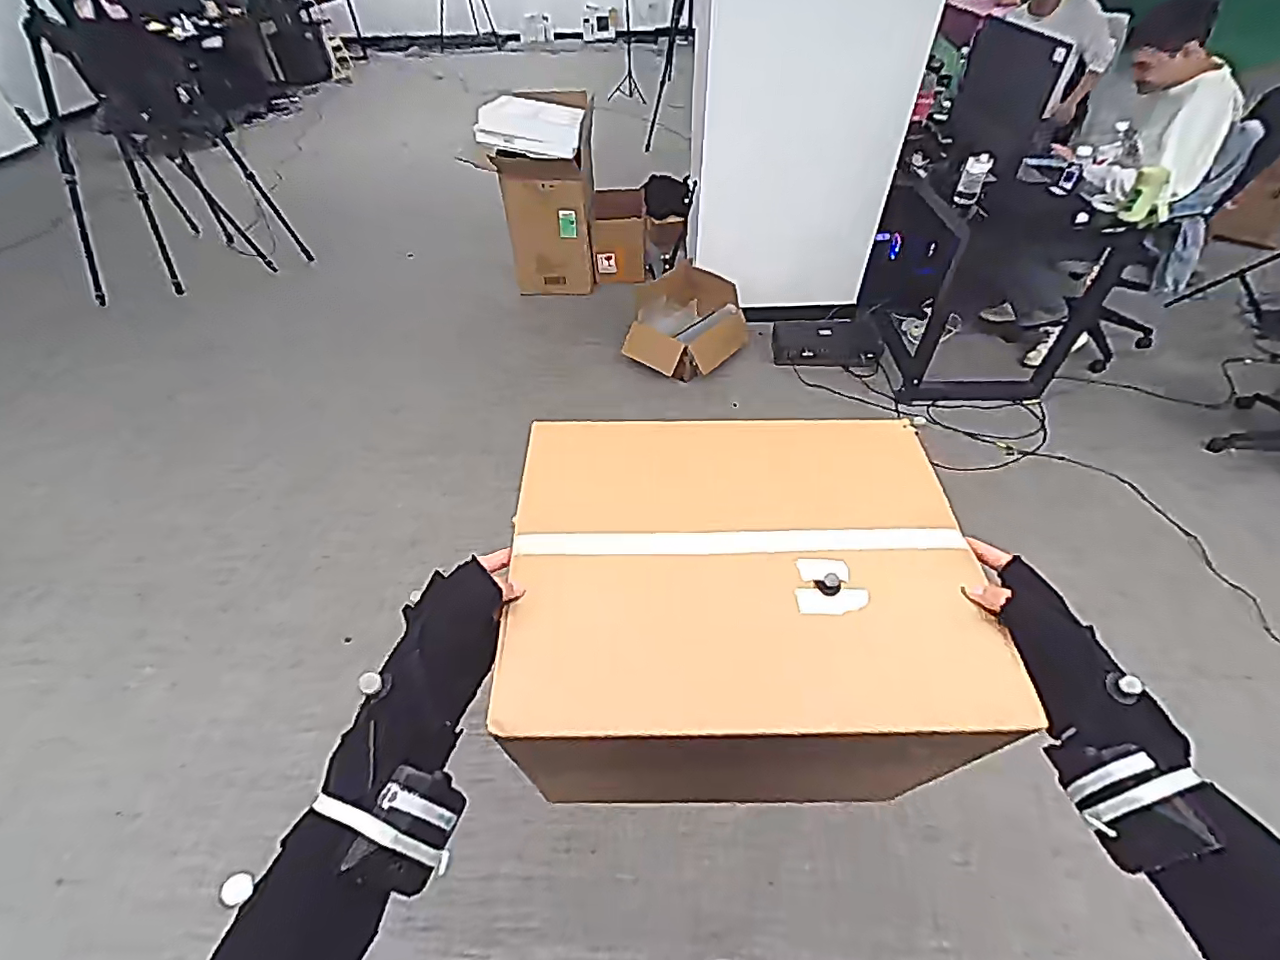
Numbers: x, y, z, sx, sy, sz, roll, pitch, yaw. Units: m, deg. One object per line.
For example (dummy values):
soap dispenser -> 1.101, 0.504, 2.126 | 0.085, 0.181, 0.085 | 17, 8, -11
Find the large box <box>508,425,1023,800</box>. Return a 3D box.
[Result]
large box -> 0.089, 0.155, 0.614 | 0.408, 0.320, 0.320 | -1, 52, -1
